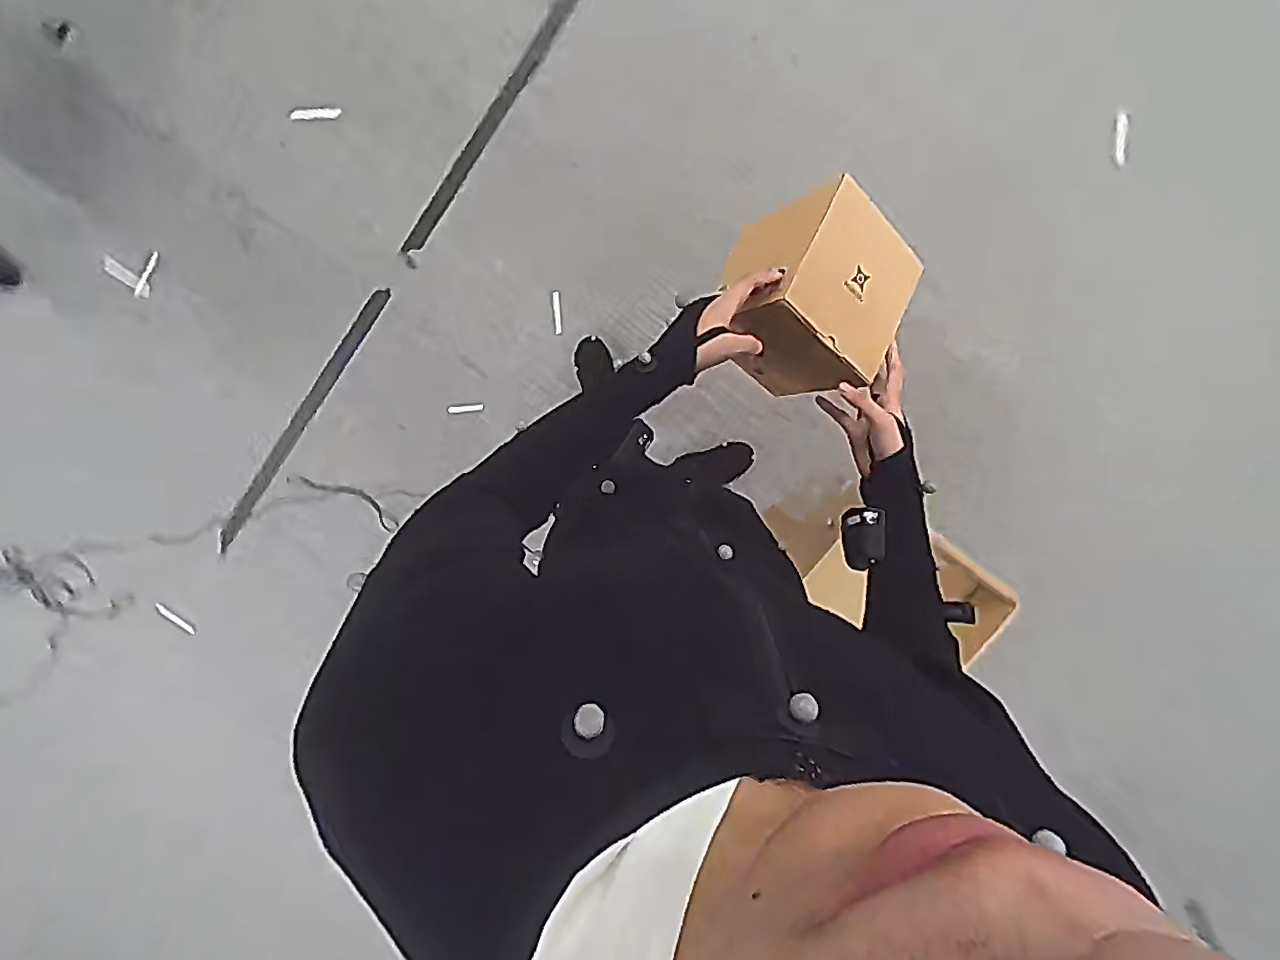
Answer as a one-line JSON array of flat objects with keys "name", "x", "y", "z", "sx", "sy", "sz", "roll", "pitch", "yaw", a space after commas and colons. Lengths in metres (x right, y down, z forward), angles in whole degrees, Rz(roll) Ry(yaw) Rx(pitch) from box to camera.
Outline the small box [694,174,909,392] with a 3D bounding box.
[{"name": "small box", "x": 0.196, "y": -0.230, "z": 0.684, "sx": 0.168, "sy": 0.176, "sz": 0.179, "roll": 31, "pitch": 79, "yaw": -26}]
